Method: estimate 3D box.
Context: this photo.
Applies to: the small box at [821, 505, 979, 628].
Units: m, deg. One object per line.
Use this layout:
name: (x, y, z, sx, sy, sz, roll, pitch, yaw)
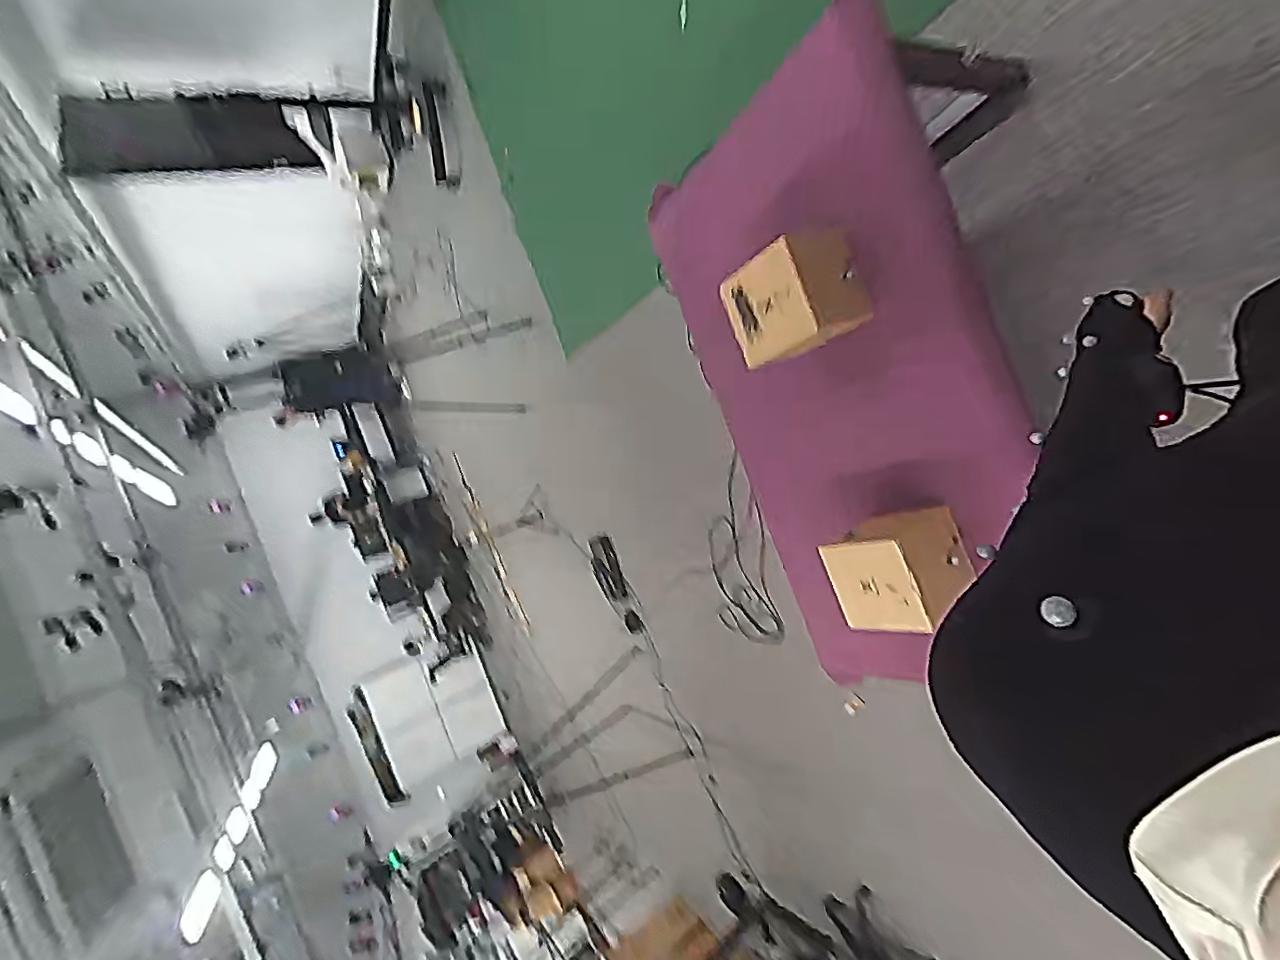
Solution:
small box: (0.480, 0.158, 1.004, 0.179, 0.176, 0.168, -23, 88, 59)
